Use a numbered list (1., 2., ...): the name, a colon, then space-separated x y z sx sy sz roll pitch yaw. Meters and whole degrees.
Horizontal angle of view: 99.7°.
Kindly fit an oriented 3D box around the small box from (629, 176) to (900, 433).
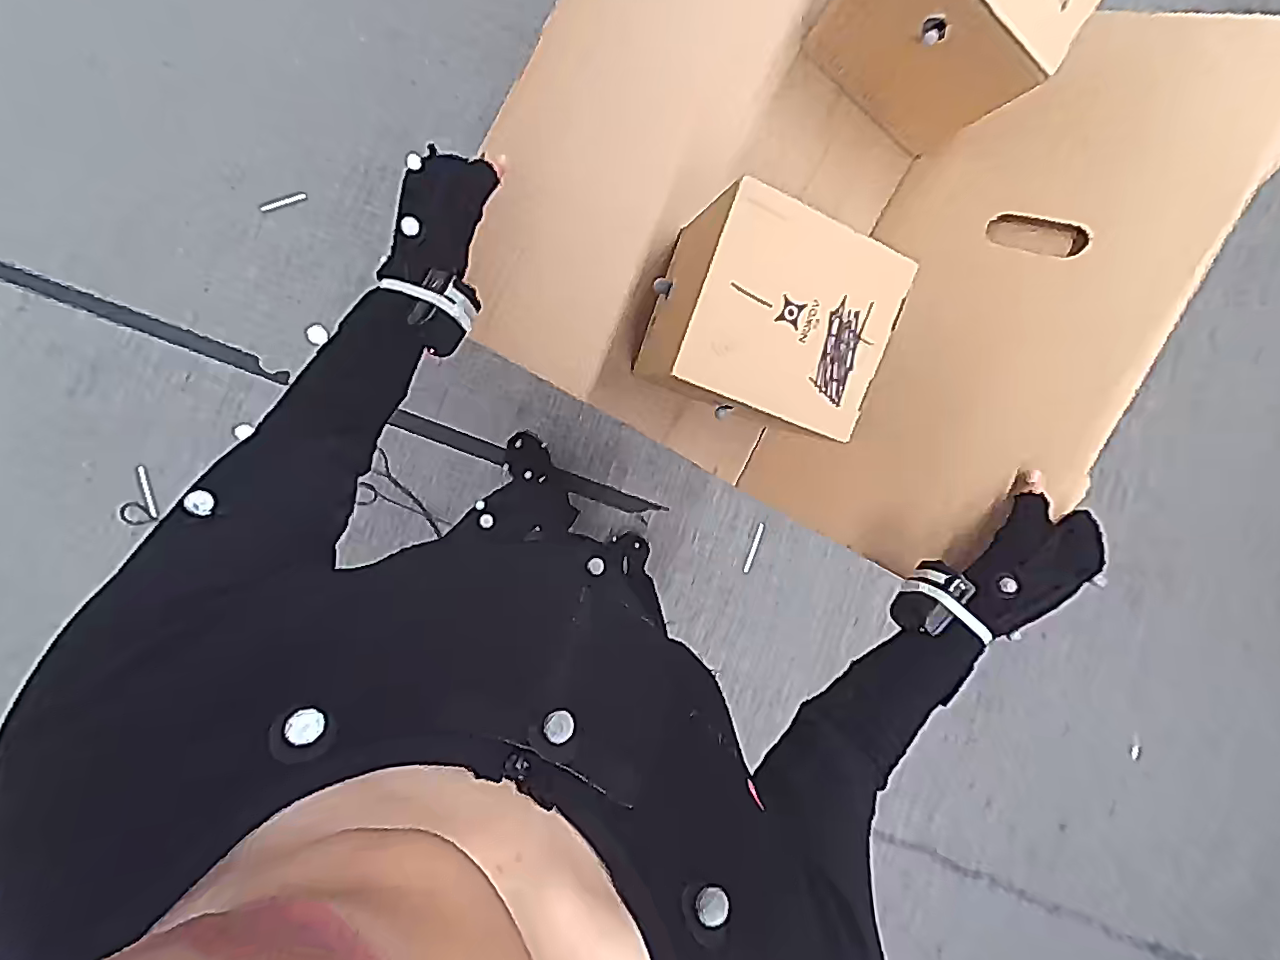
1. small box: 0.106 -0.158 0.535 0.179 0.176 0.168 18 96 -14
